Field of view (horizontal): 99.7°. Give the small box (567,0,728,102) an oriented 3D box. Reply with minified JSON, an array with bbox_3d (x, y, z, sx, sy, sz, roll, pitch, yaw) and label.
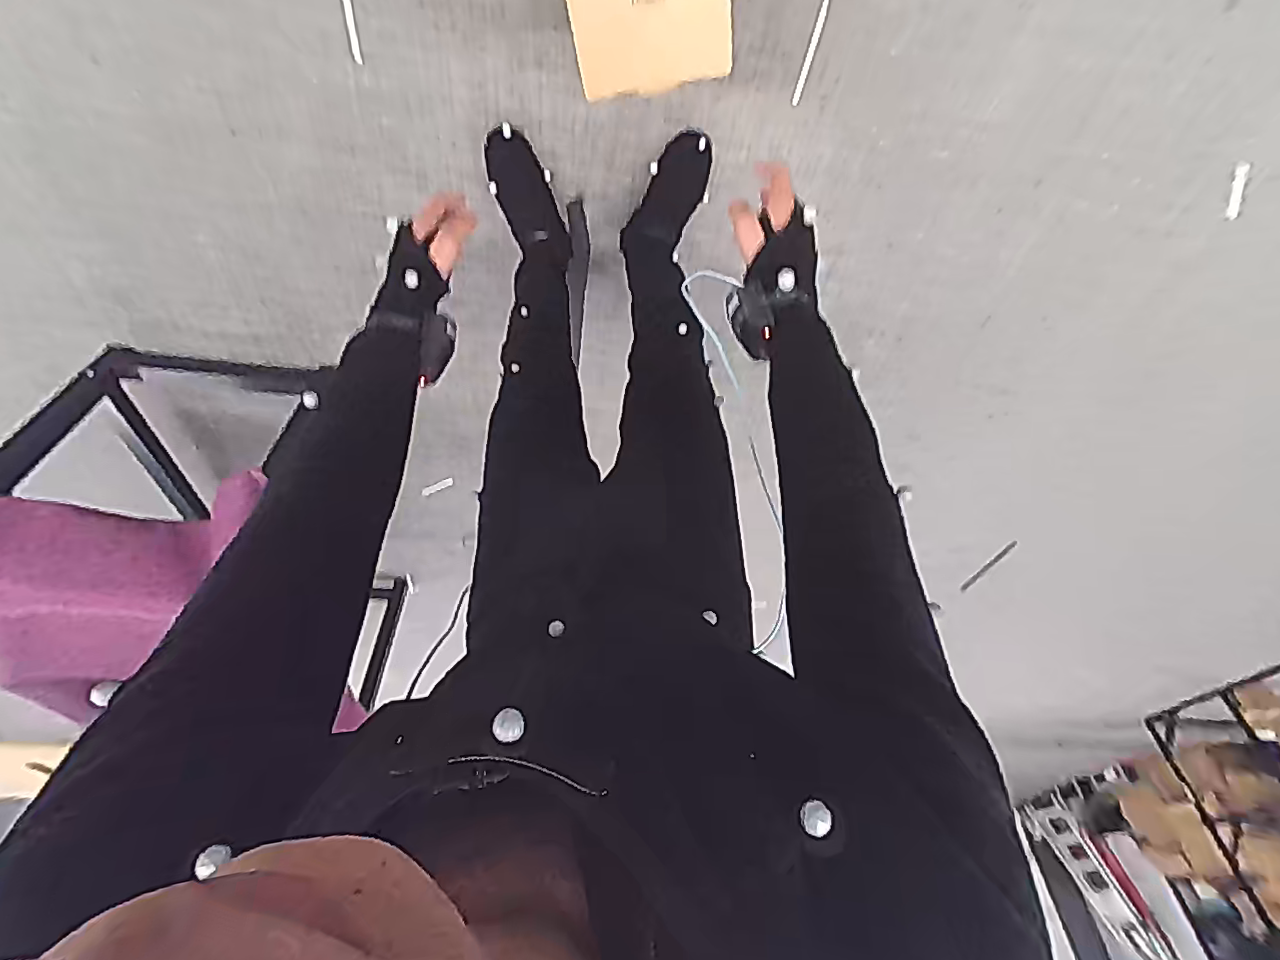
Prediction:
[{"bbox_3d":[0.005,-0.554,0.594,0.168,0.176,0.179,-7,139,5],"label":"small box"}]
